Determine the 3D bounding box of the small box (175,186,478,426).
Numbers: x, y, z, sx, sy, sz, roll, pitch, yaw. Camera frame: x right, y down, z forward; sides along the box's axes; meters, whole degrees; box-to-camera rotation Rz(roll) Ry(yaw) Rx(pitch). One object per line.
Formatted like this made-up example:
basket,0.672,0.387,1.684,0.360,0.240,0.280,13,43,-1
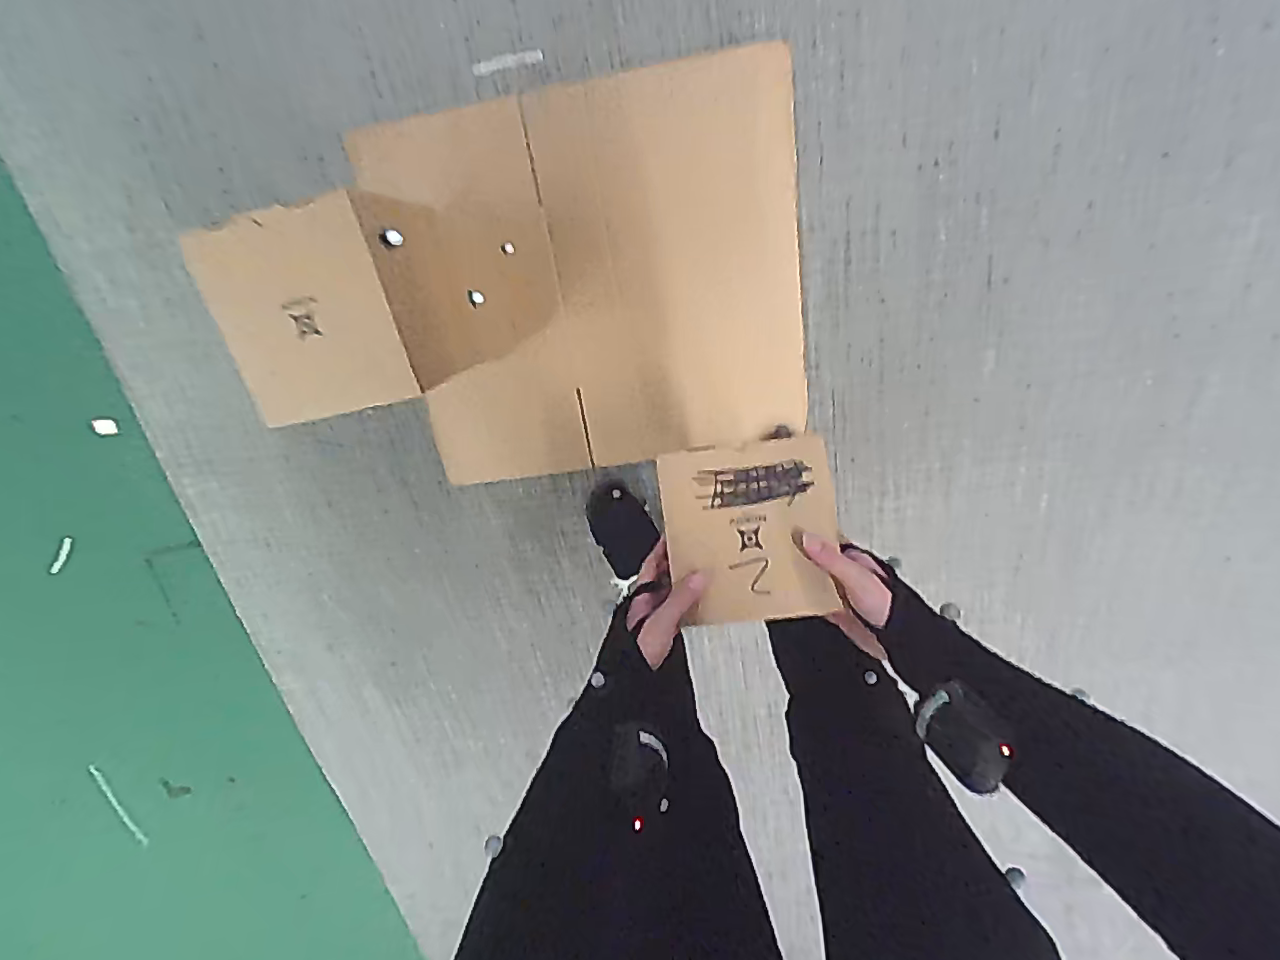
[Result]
small box,-0.287,-0.173,0.544,0.168,0.176,0.179,-11,110,9

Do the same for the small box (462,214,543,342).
small box,-0.270,-0.293,0.846,0.168,0.176,0.179,-15,111,9

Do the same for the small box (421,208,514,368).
small box,-0.281,-0.232,0.695,0.168,0.176,0.179,-11,110,9
